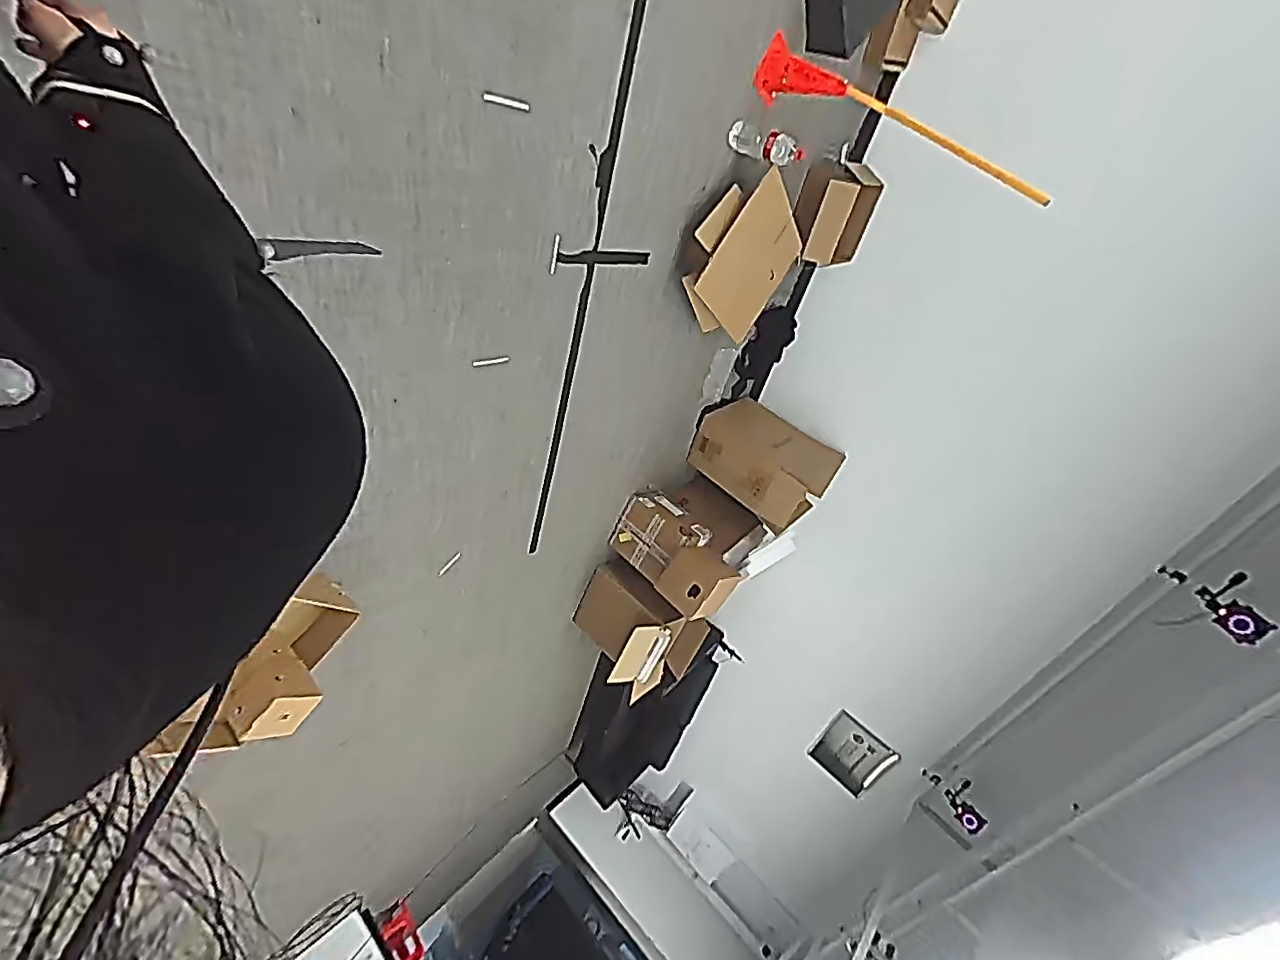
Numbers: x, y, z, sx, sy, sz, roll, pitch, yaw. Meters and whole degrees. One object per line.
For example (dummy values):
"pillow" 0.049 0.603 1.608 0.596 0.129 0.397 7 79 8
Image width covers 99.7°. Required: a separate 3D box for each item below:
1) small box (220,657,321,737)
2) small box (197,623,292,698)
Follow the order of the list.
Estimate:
"small box" -1.173 0.680 1.713 0.168 0.176 0.179 -50 156 -2
"small box" -1.294 0.594 1.780 0.168 0.176 0.179 -50 154 -7
